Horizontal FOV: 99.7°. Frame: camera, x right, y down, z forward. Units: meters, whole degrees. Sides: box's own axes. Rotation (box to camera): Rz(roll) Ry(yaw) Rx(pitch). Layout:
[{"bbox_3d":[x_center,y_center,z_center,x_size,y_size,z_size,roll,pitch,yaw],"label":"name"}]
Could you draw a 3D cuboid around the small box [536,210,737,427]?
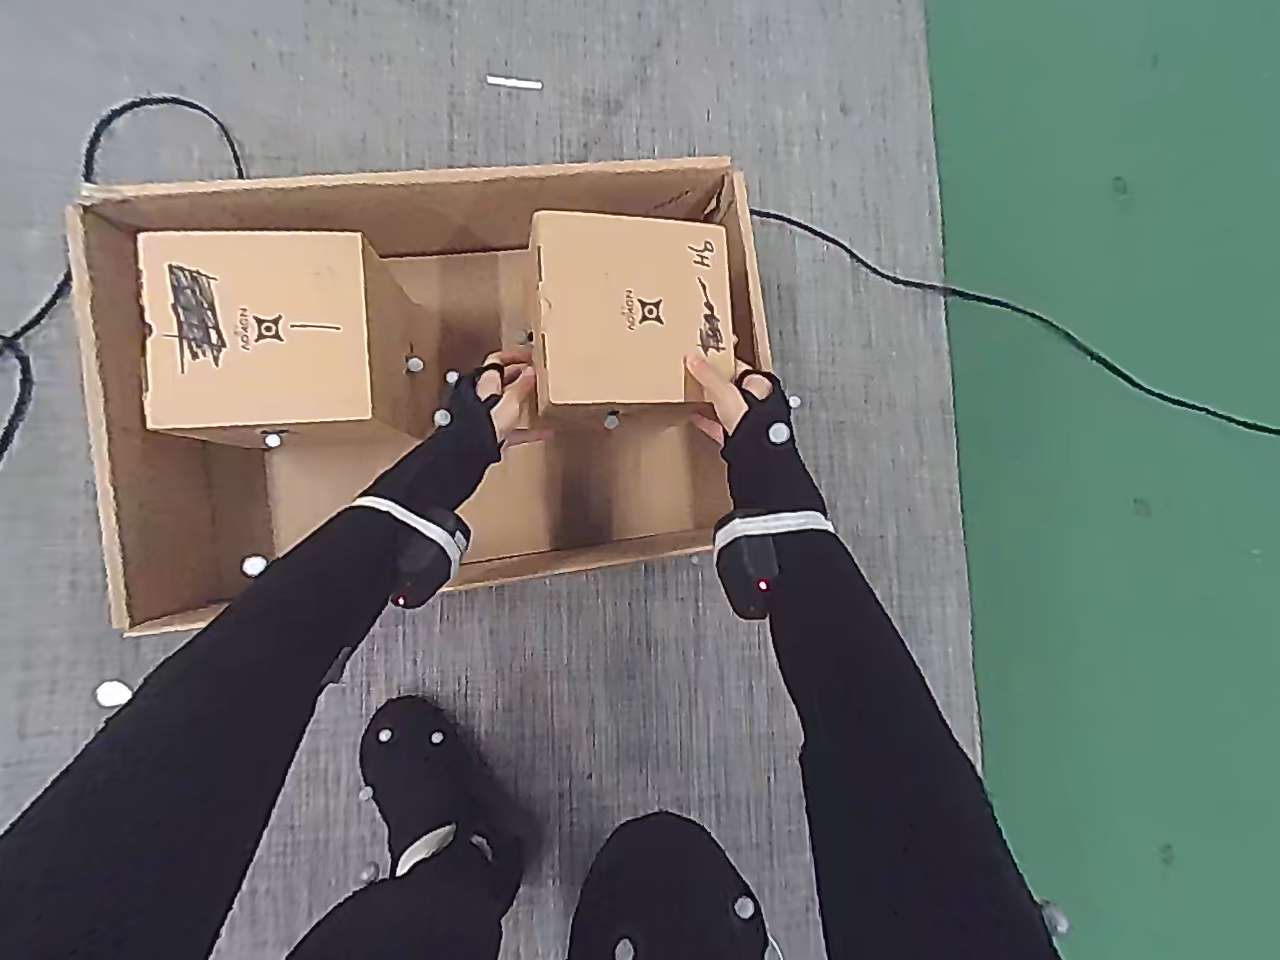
[{"bbox_3d":[-0.017,-0.148,0.553,0.179,0.176,0.168,-2,87,-13],"label":"small box"}]
